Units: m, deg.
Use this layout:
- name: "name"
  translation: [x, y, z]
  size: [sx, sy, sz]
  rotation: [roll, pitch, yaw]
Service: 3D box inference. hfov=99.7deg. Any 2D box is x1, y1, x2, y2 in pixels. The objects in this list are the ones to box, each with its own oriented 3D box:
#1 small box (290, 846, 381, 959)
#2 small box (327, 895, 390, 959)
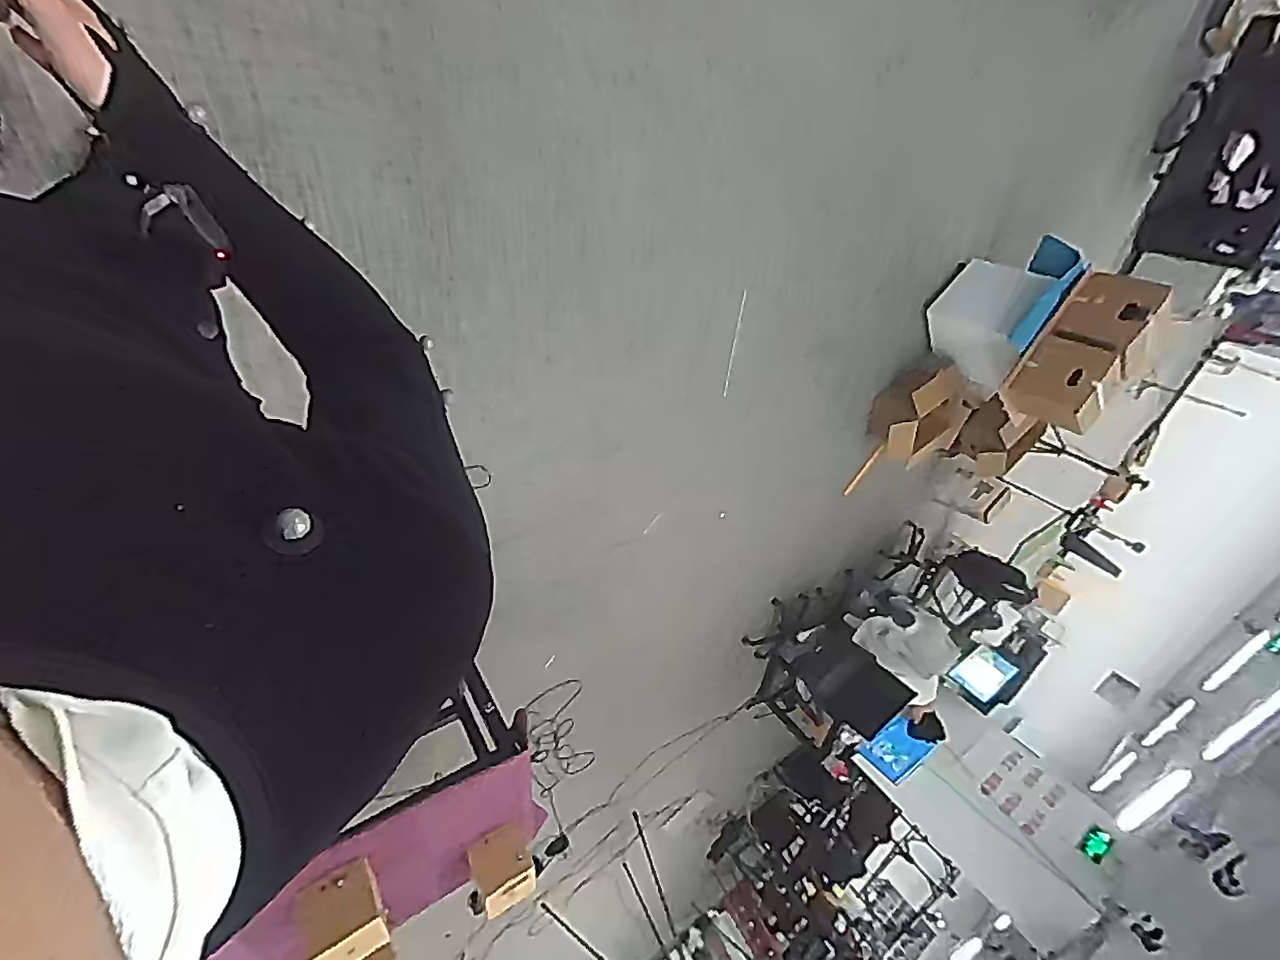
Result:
- name: "small box"
  translation: [-0.792, 1.103, 1.409]
  size: [0.168, 0.176, 0.179]
  rotation: [-17, 132, -31]
- name: "small box"
  translation: [-0.840, 1.373, 1.587]
  size: [0.168, 0.176, 0.179]
  rotation: [-14, 128, -31]
